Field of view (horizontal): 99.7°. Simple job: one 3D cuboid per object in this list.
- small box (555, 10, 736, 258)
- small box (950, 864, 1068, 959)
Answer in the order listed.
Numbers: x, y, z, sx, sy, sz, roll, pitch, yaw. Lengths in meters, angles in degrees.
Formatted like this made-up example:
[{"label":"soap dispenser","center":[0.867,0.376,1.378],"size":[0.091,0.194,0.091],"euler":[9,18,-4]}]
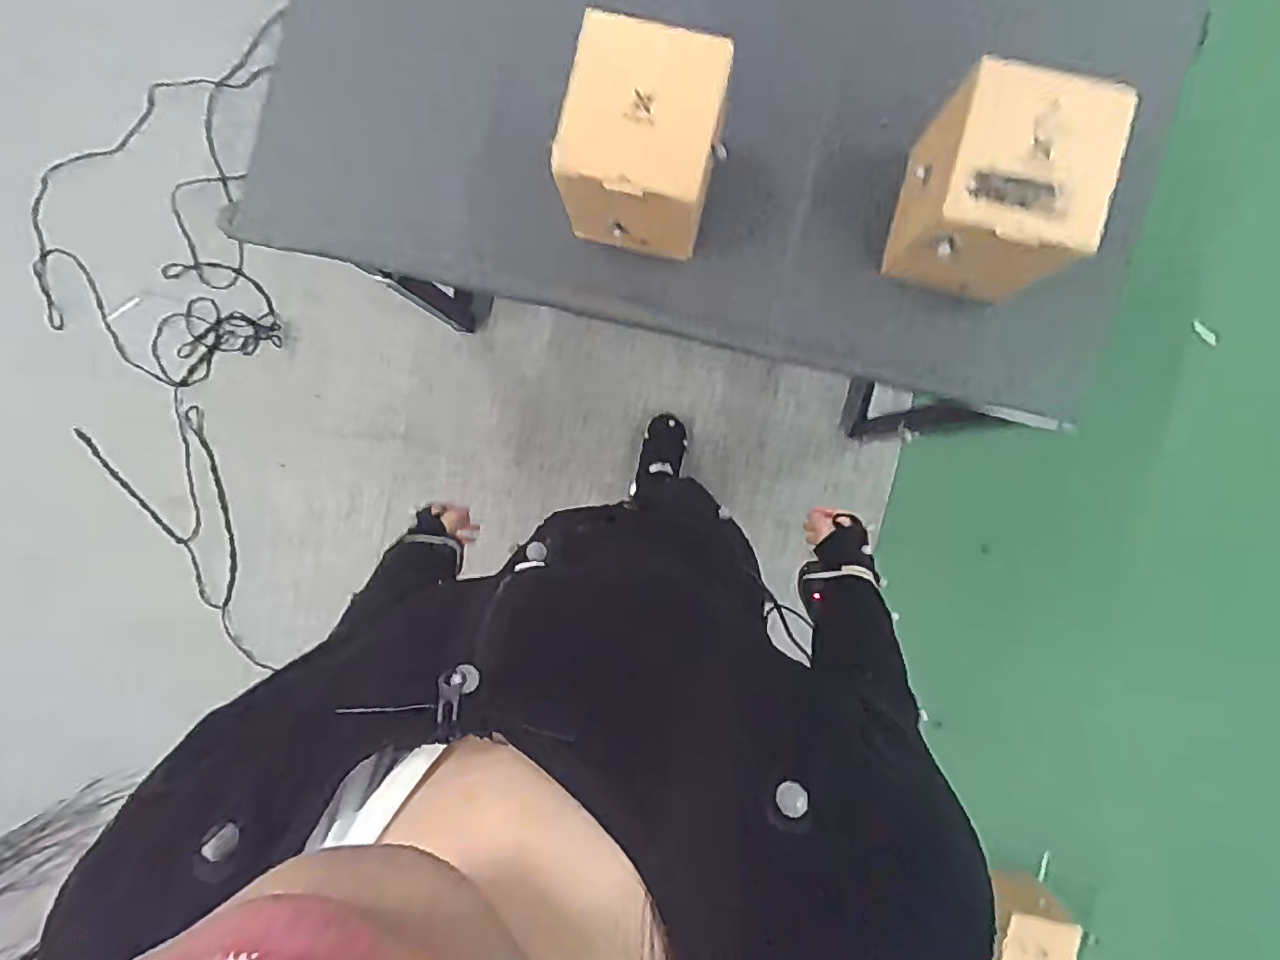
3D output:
[{"label":"small box","center":[0.006,-0.404,0.661],"size":[0.168,0.176,0.179],"euler":[14,93,1]},{"label":"small box","center":[0.956,1.150,1.414],"size":[0.179,0.176,0.168],"euler":[11,92,1]}]
